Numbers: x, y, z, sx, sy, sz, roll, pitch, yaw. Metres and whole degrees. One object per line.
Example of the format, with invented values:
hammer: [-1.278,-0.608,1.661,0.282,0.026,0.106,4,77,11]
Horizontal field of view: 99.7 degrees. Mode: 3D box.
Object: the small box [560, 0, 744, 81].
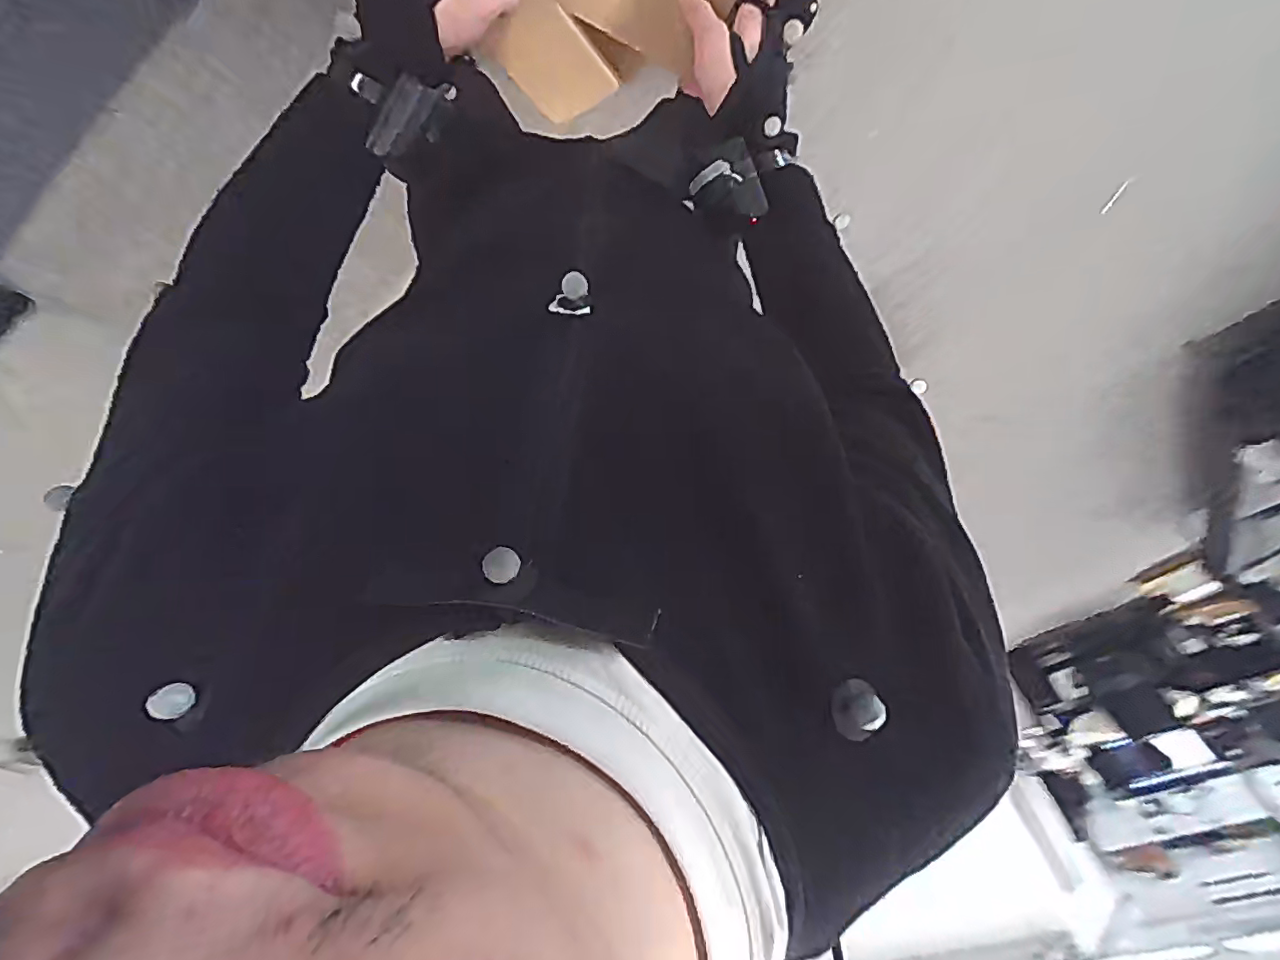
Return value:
small box: [0.003,-0.471,0.427,0.179,0.176,0.168,11,138,-26]
